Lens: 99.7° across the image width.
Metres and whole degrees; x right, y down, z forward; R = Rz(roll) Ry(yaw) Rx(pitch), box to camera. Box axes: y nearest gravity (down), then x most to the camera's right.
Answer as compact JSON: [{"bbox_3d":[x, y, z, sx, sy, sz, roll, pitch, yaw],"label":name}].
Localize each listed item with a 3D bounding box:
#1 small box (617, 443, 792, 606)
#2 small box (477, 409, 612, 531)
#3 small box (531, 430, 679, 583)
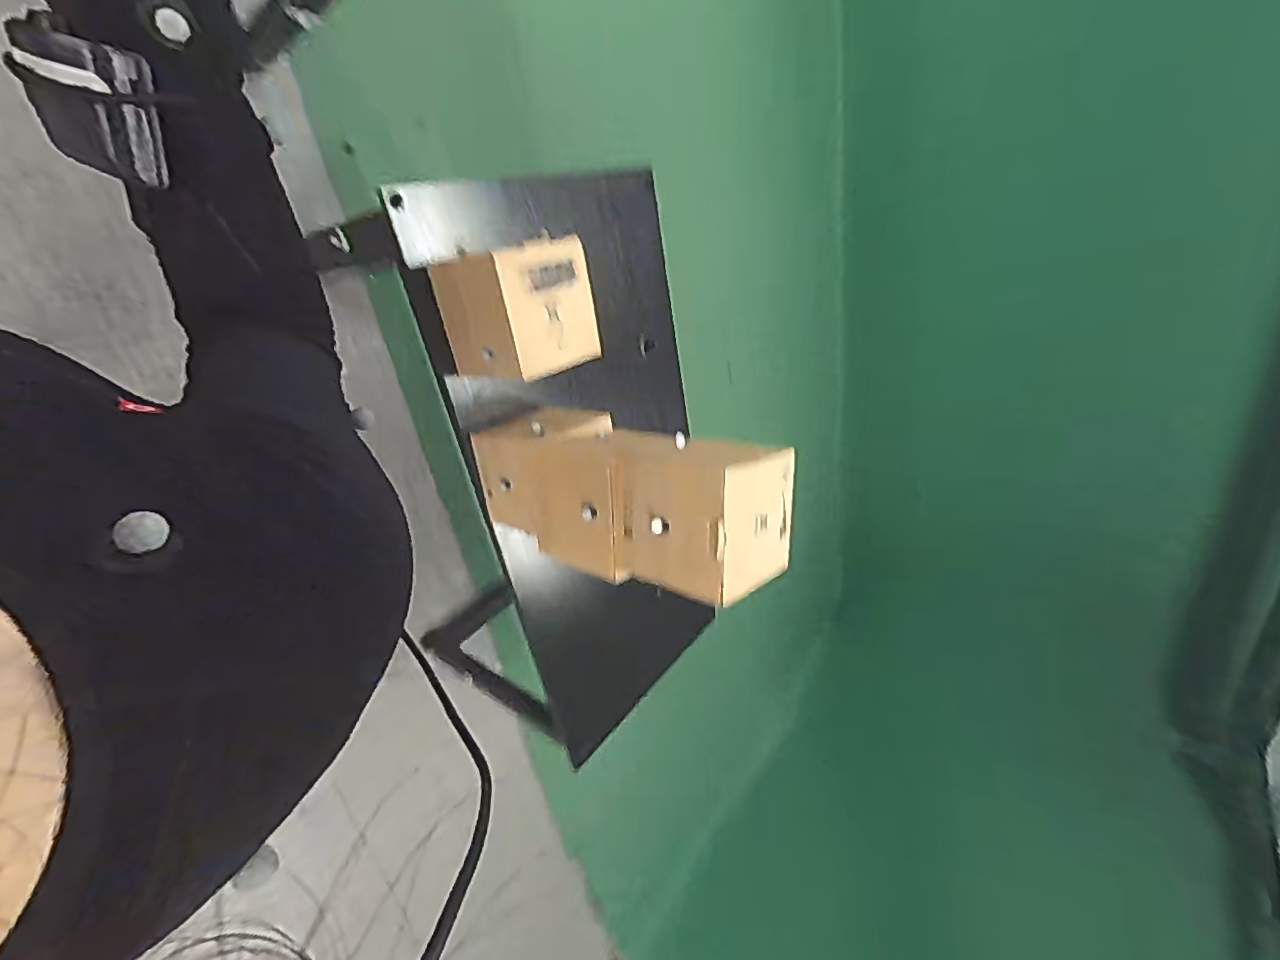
[{"bbox_3d":[0.083,0.046,0.725,0.179,0.176,0.168,-13,109,-46],"label":"small box"},{"bbox_3d":[-0.161,-0.019,0.932,0.179,0.176,0.168,-28,121,-43],"label":"small box"},{"bbox_3d":[-0.049,0.028,0.821,0.168,0.176,0.179,-18,113,-46],"label":"small box"}]
